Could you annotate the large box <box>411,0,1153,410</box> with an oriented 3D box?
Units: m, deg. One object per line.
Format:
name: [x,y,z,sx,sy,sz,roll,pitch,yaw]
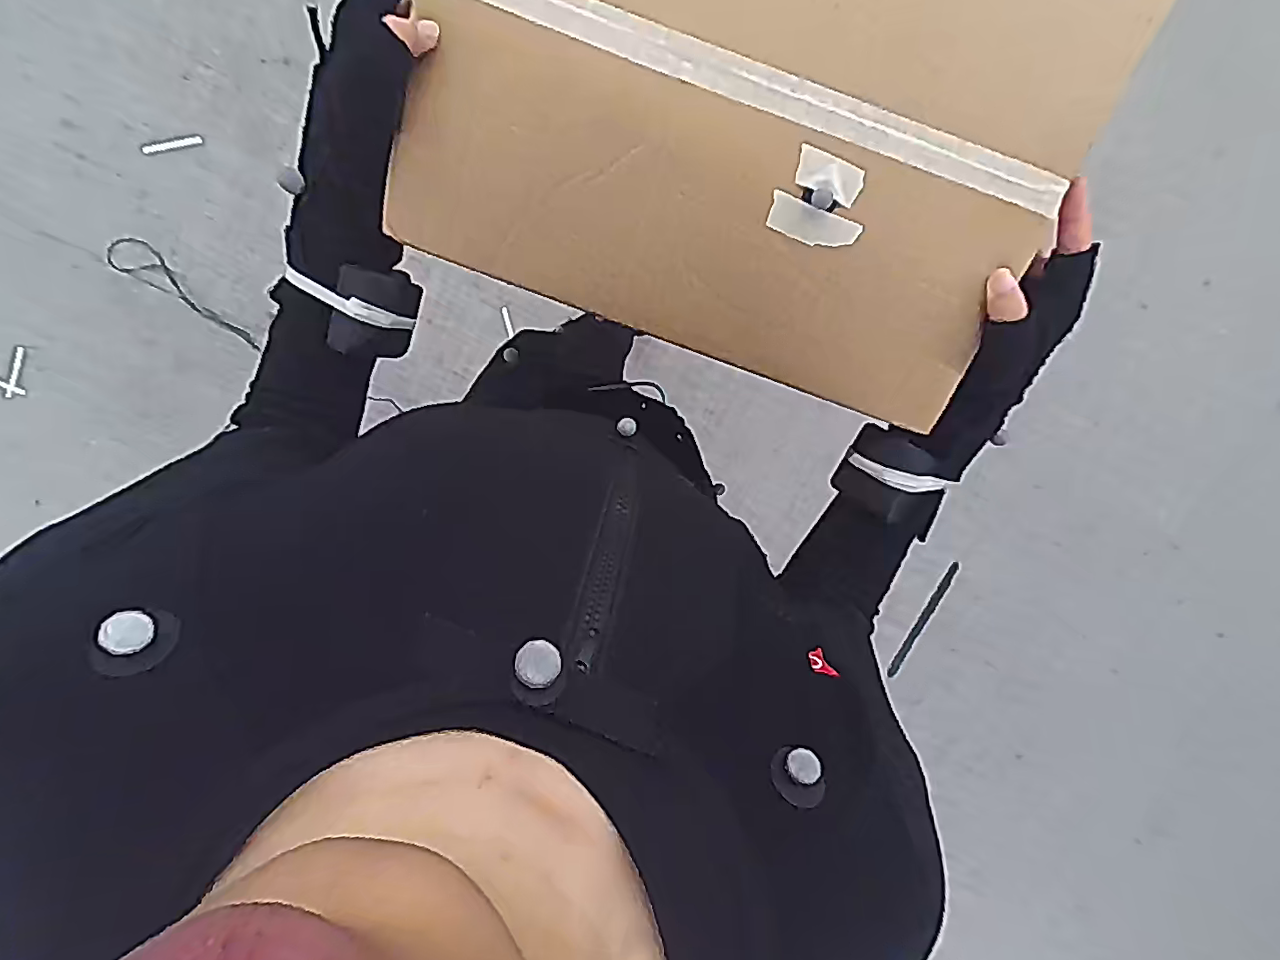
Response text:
large box: [0.082,-0.298,0.475,0.408,0.320,0.320,20,112,-3]
